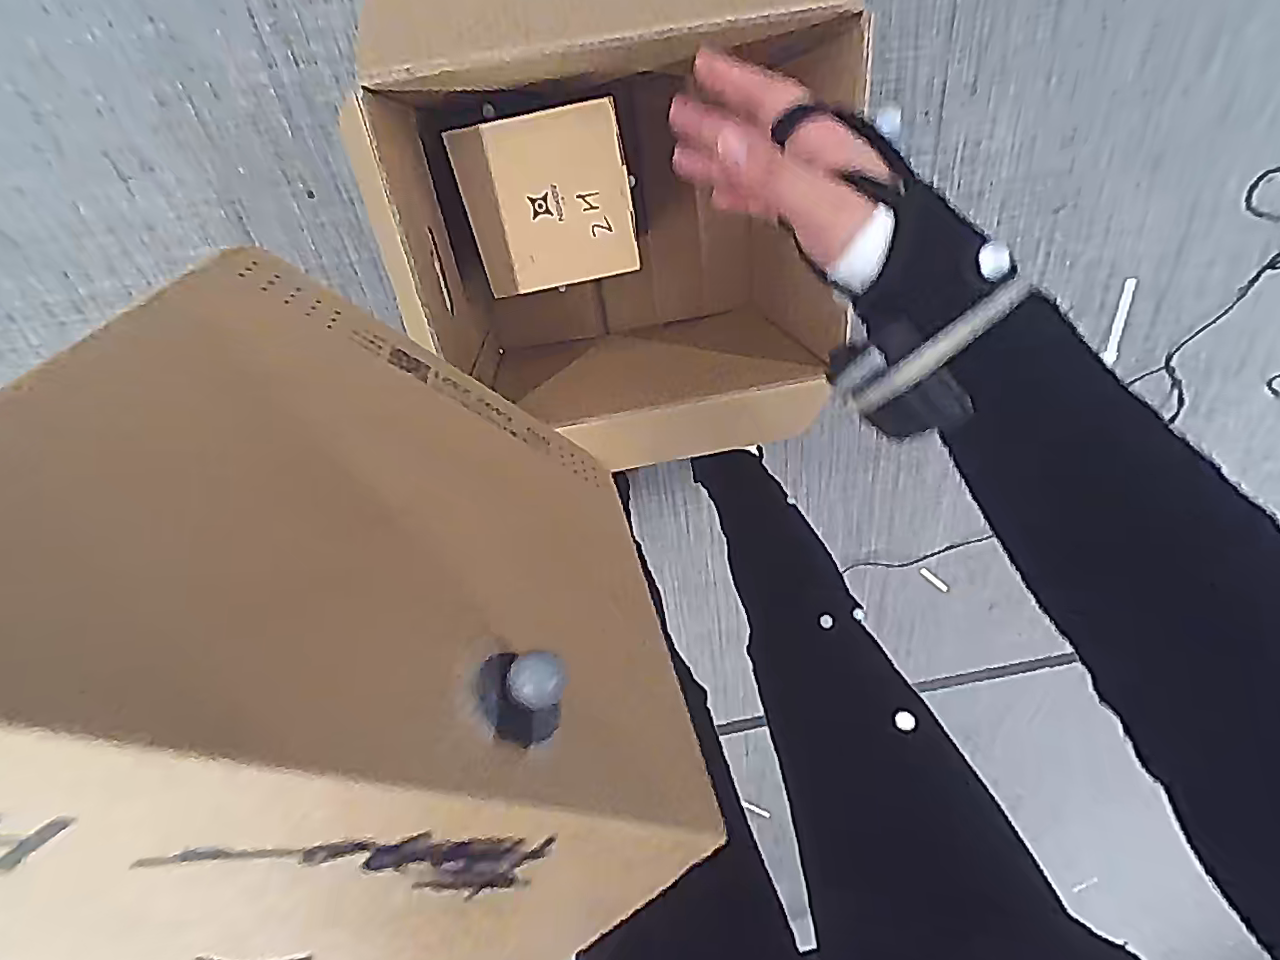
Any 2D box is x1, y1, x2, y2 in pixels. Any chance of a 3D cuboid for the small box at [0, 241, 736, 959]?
[{"bbox_3d":[-0.105,0.059,0.176,0.168,0.176,0.179,33,111,-33],"label":"small box"}]
